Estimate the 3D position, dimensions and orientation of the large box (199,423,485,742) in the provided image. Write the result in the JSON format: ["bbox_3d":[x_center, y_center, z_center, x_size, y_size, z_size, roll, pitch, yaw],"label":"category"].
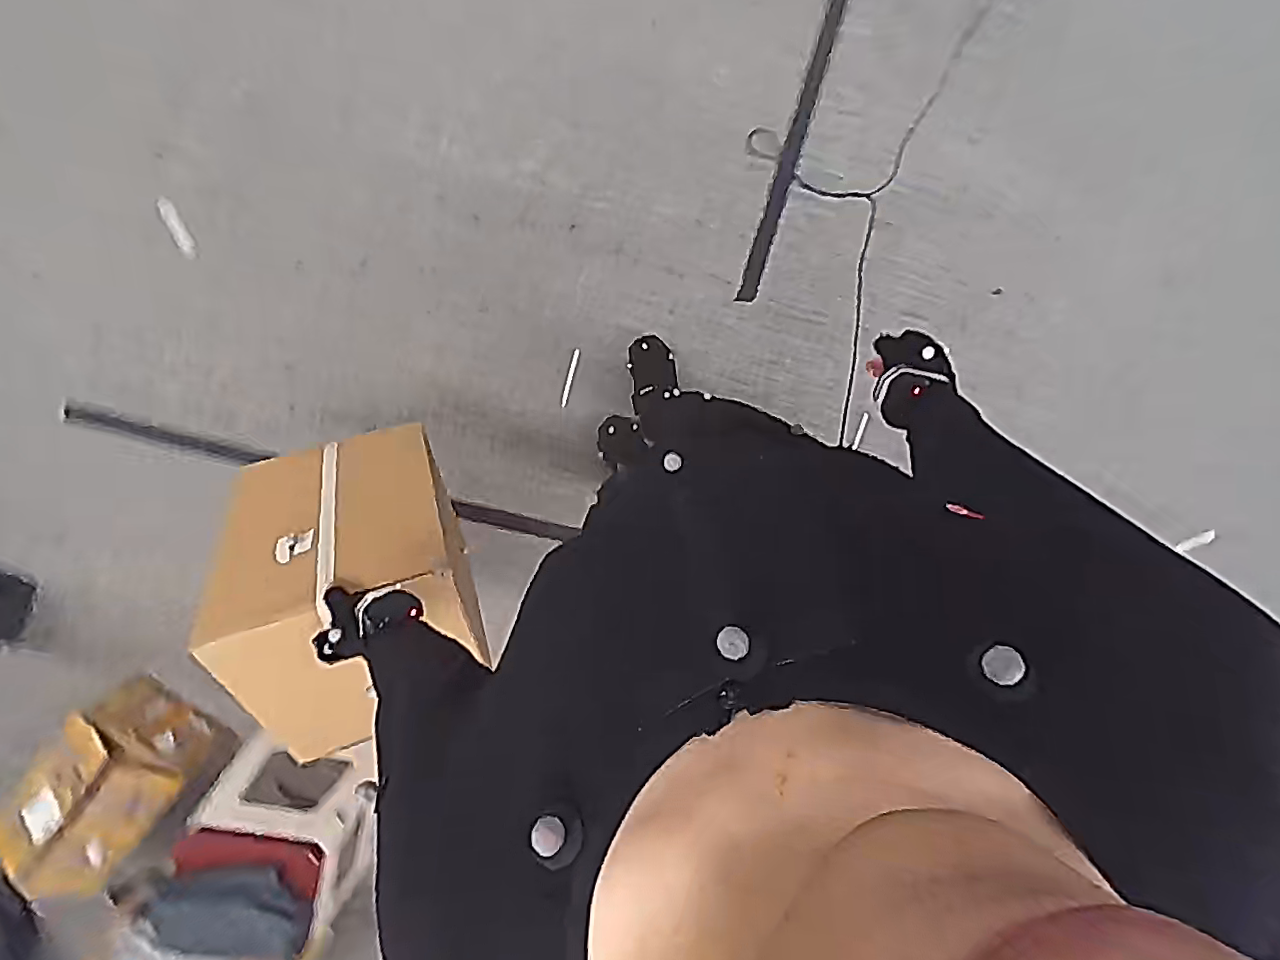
[{"bbox_3d":[-0.485,0.157,0.951,0.320,0.408,0.320,-16,132,-16],"label":"large box"}]
